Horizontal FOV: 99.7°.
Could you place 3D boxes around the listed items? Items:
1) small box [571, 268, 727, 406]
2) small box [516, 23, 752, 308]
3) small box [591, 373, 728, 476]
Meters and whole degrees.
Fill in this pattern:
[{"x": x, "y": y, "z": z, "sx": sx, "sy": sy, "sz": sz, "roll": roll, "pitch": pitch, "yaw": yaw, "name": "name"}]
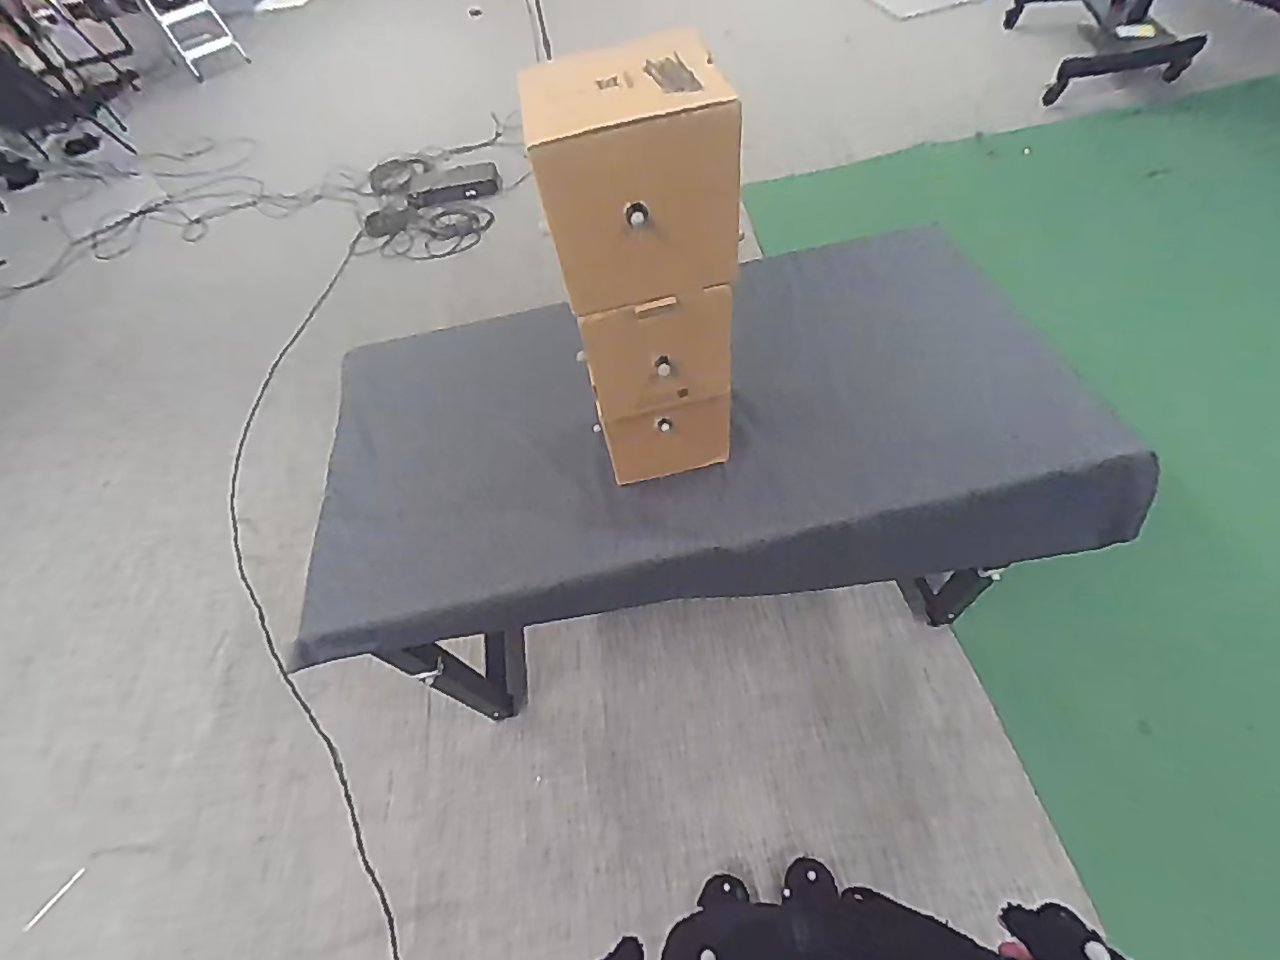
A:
[{"x": 0.008, "y": -0.210, "z": 0.665, "sx": 0.168, "sy": 0.176, "sz": 0.179, "roll": -13, "pitch": 57, "yaw": 0, "name": "small box"}, {"x": -0.006, "y": -0.297, "z": 0.525, "sx": 0.179, "sy": 0.176, "sz": 0.168, "roll": -14, "pitch": 56, "yaw": -2, "name": "small box"}, {"x": 0.026, "y": -0.126, "z": 0.804, "sx": 0.179, "sy": 0.176, "sz": 0.168, "roll": -12, "pitch": 57, "yaw": -1, "name": "small box"}]
